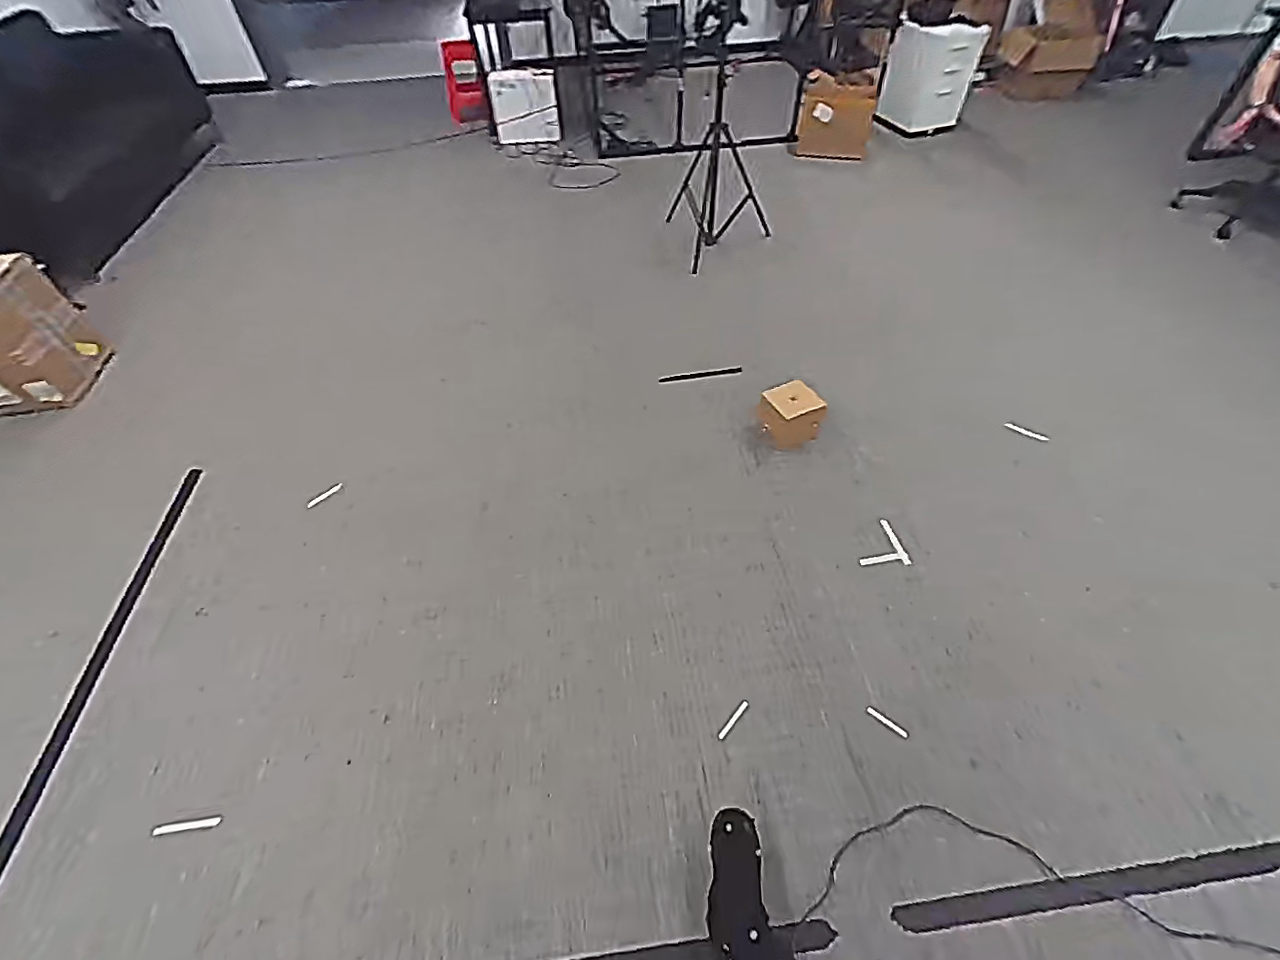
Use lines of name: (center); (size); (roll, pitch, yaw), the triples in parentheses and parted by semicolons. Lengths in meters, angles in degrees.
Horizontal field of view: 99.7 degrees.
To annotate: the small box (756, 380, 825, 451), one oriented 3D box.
small box: (0.558, -0.240, 2.030); (0.179, 0.176, 0.168); (-23, 52, -15)
